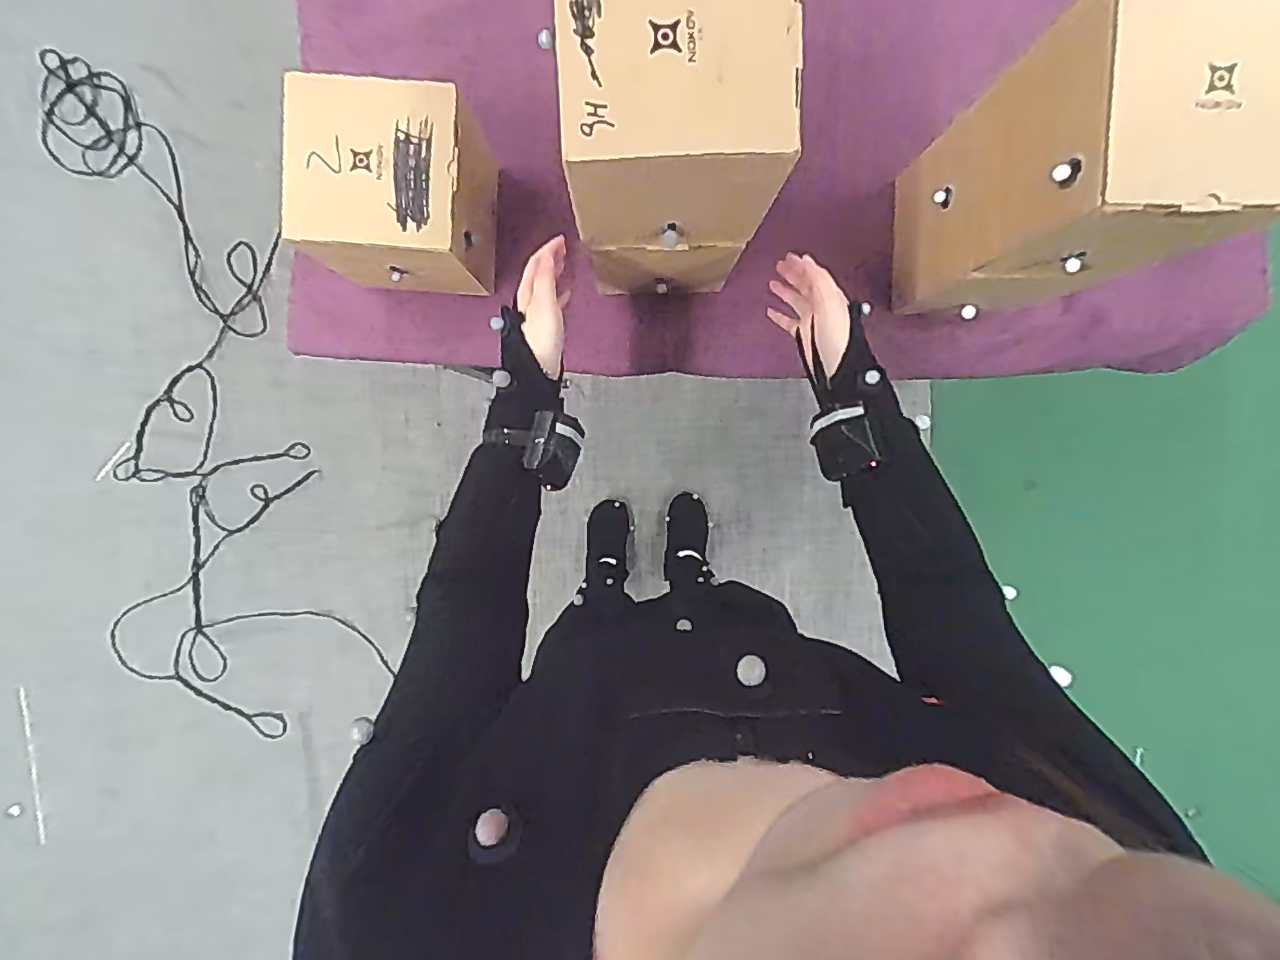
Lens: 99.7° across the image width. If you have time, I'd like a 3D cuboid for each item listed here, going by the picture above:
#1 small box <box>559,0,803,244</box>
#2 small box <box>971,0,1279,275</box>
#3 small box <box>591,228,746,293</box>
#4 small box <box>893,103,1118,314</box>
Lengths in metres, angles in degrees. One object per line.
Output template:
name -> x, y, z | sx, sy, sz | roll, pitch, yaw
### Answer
small box -> 0.027, -0.318, 0.466 | 0.179, 0.176, 0.168 | -2, 93, -2
small box -> 0.423, -0.296, 0.478 | 0.168, 0.176, 0.179 | -1, 95, -1
small box -> 0.025, -0.331, 0.629 | 0.168, 0.176, 0.179 | -2, 94, 0
small box -> 0.419, -0.305, 0.640 | 0.168, 0.176, 0.179 | 0, 95, -1
